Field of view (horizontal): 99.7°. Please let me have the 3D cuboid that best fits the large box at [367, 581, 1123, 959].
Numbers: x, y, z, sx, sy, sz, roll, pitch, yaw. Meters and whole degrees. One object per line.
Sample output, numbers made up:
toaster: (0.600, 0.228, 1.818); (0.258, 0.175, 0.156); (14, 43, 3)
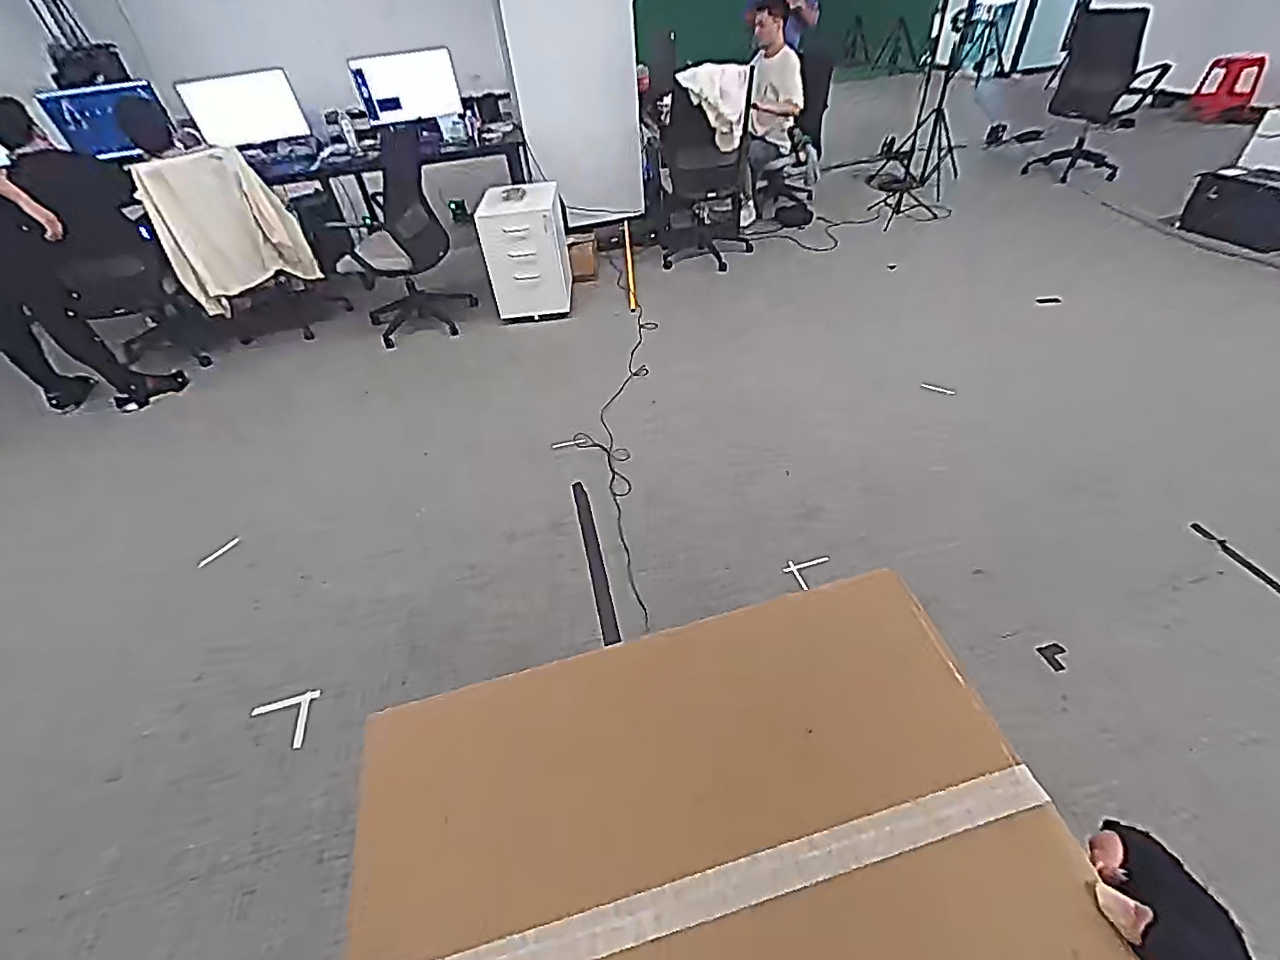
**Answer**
large box: (0.056, 0.335, 0.428); (0.408, 0.320, 0.320); (-15, 49, -5)
